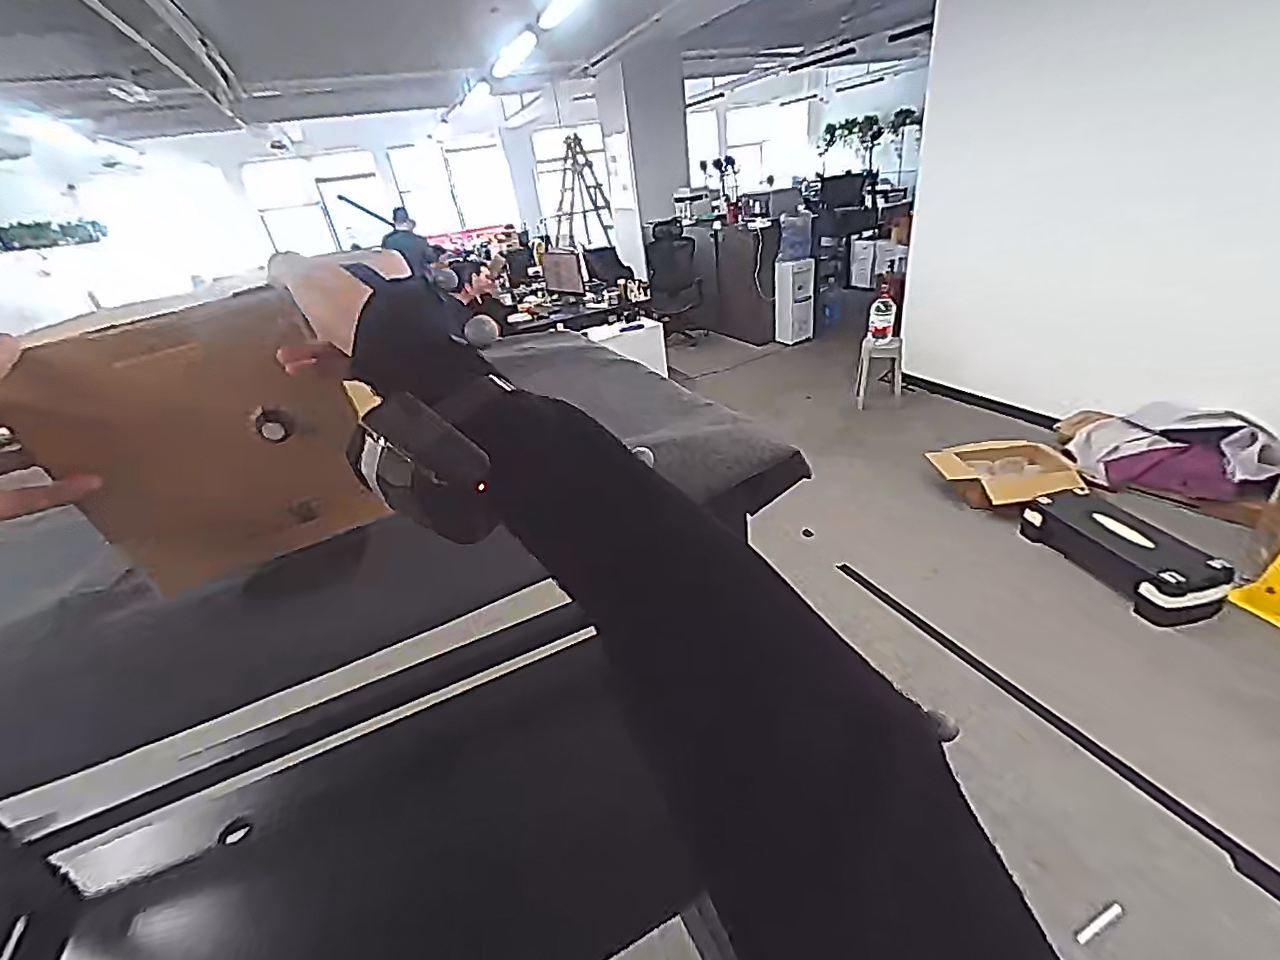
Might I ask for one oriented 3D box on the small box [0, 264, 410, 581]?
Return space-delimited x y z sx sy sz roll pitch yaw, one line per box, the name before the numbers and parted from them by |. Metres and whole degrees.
small box | -0.285 -0.047 0.405 0.168 0.176 0.179 -20 32 -14
